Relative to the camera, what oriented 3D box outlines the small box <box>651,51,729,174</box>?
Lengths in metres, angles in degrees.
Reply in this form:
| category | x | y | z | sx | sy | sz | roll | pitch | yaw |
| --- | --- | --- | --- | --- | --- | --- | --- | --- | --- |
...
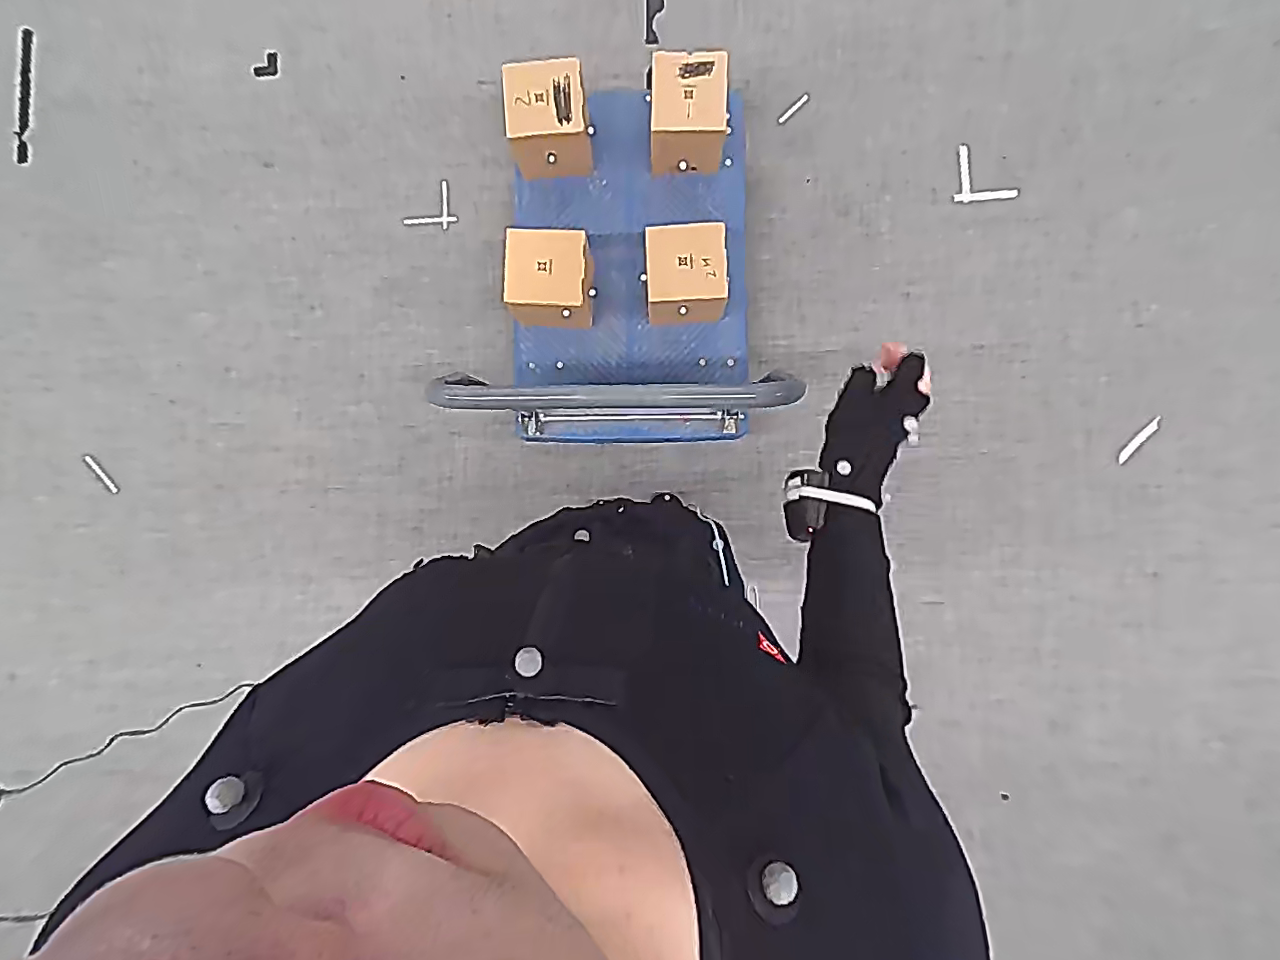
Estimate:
| category | x | y | z | sx | sy | sz | roll | pitch | yaw |
| --- | --- | --- | --- | --- | --- | --- | --- | --- | --- |
| small box | 0.110 | -0.844 | 1.252 | 0.168 | 0.176 | 0.179 | 1 | 90 | 2 |

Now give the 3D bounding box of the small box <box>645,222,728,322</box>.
| category | x | y | z | sx | sy | sz | roll | pitch | yaw |
| --- | --- | --- | --- | --- | --- | --- | --- | --- | --- |
| small box | 0.105 | -0.470 | 1.247 | 0.179 | 0.176 | 0.168 | -3 | 89 | 2 |

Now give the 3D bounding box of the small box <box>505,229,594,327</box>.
| category | x | y | z | sx | sy | sz | roll | pitch | yaw |
| --- | --- | --- | --- | --- | --- | --- | --- | --- | --- |
| small box | -0.204 | -0.463 | 1.257 | 0.179 | 0.176 | 0.168 | 2 | 89 | 0 |
